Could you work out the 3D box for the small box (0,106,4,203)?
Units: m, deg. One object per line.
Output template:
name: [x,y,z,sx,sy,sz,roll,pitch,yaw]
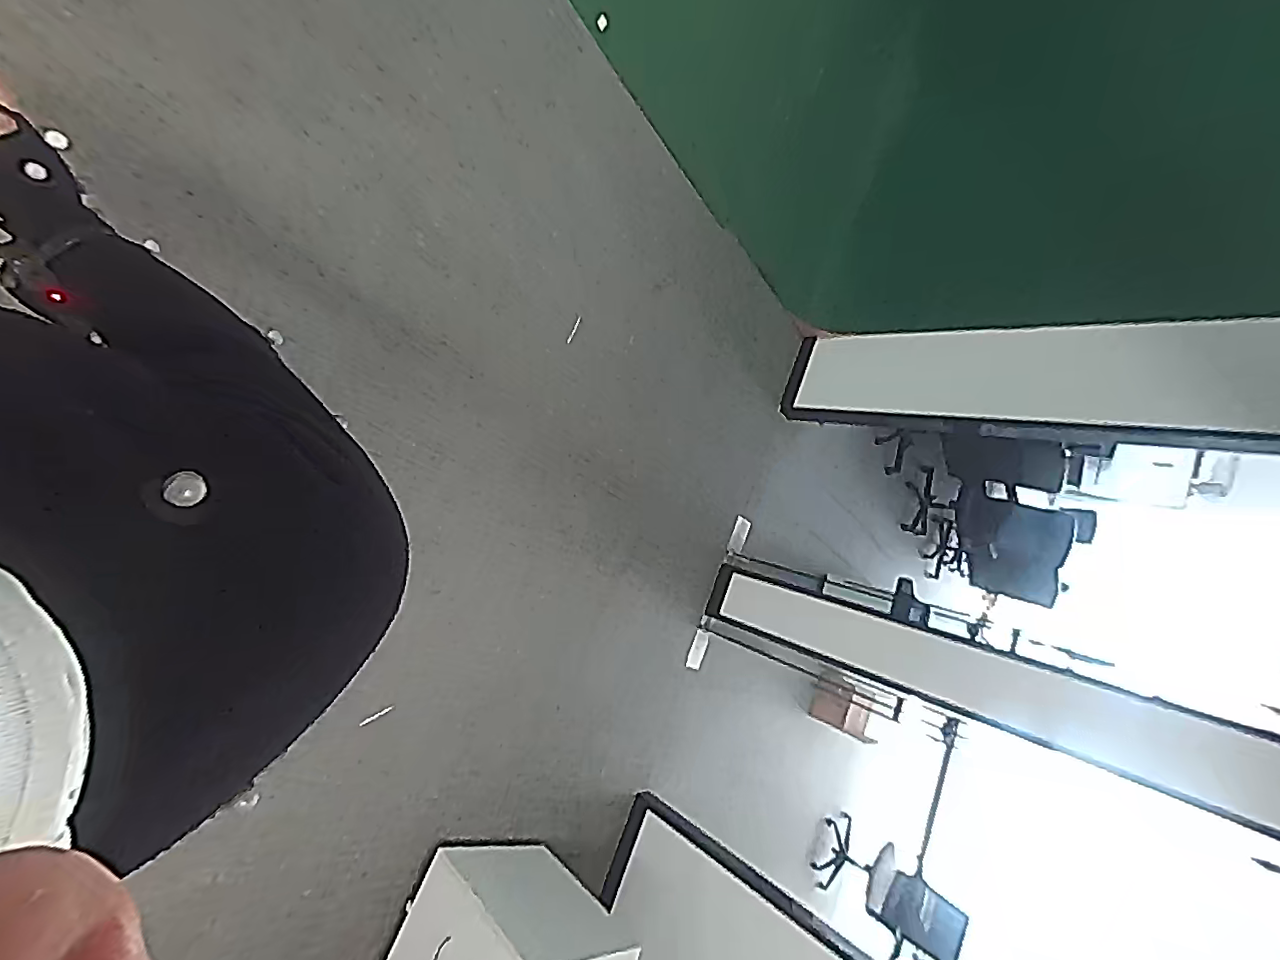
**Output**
small box: [-0.678,-0.358,0.461,0.168,0.176,0.179,-5,106,-47]
